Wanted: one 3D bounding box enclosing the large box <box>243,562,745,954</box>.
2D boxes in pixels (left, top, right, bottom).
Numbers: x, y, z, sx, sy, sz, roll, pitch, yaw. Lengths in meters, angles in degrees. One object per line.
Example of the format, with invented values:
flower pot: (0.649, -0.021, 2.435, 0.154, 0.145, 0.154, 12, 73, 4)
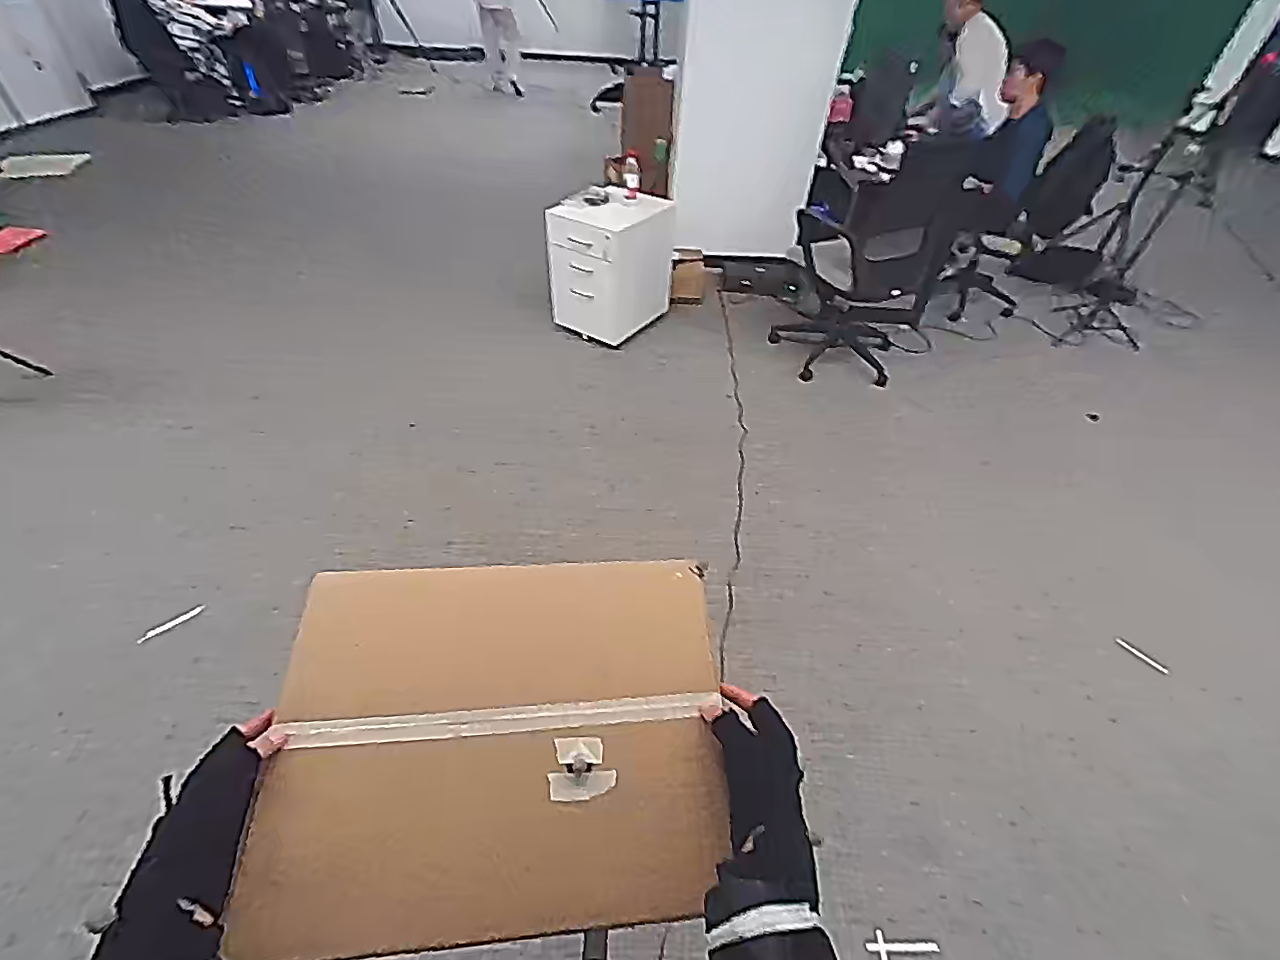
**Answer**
large box: (-0.135, 0.310, 0.637, 0.408, 0.320, 0.320, -1, 56, -7)
